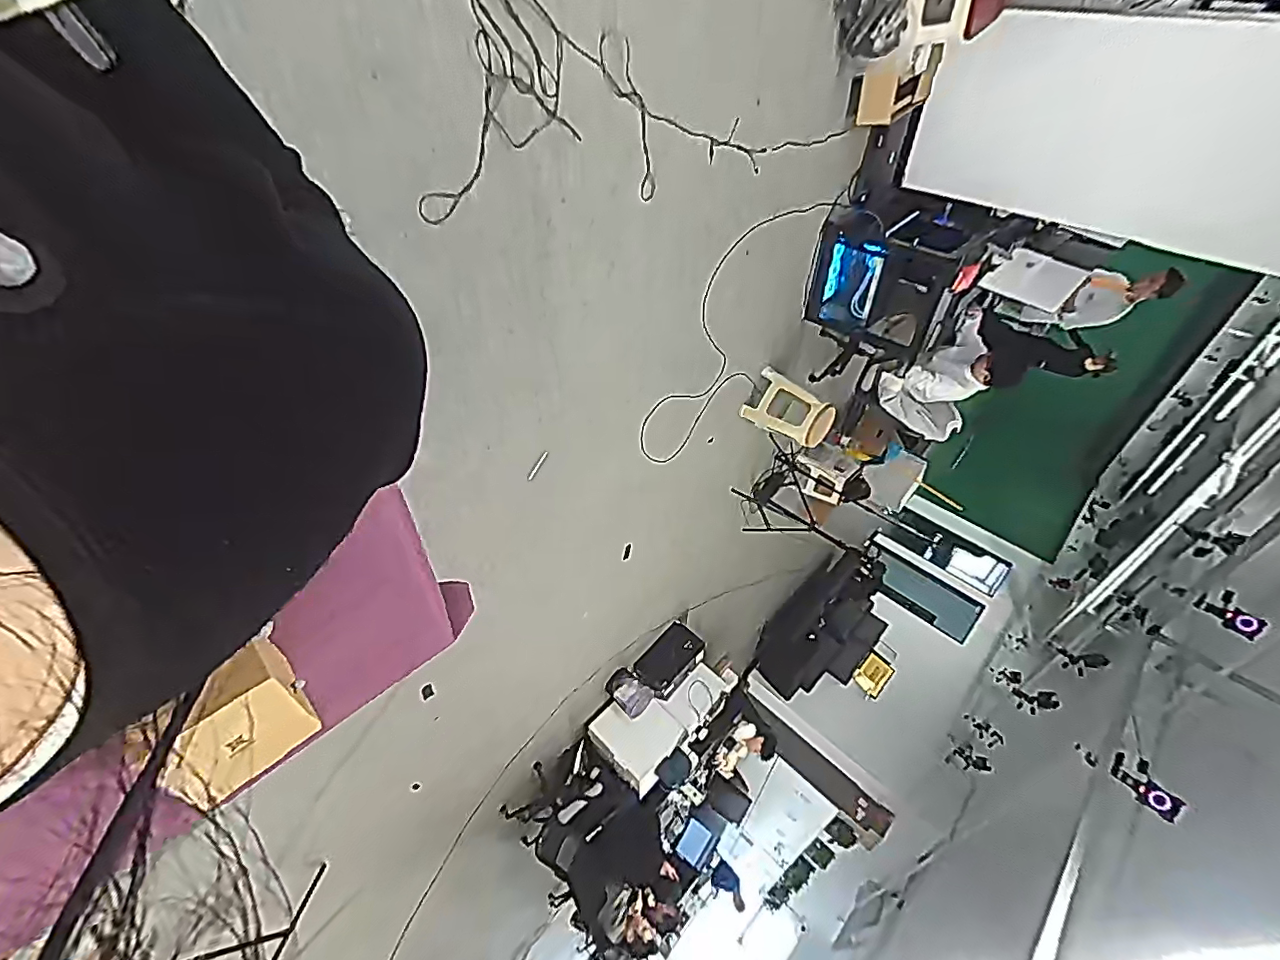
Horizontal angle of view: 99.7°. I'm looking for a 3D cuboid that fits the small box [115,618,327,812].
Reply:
[{"bbox_3d":[-0.605,0.330,0.788,0.168,0.176,0.179,-35,144,-31],"label":"small box"}]
